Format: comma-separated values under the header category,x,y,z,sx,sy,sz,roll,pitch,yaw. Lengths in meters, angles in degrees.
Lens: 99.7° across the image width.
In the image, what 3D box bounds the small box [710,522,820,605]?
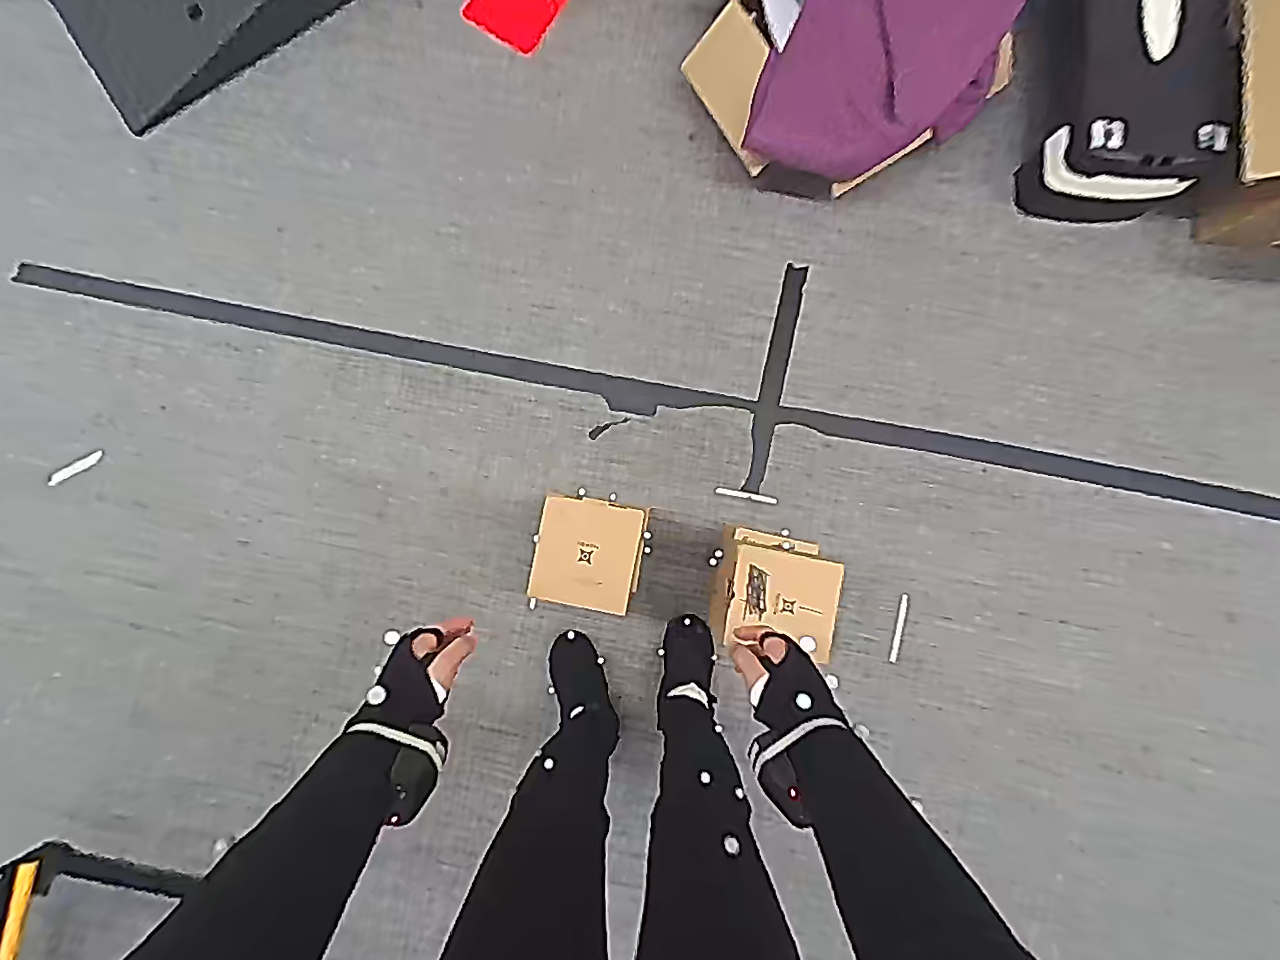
category,x,y,z,sx,sy,sz,roll,pitch,yaw
small box,0.247,0.192,1.108,0.168,0.176,0.179,13,90,0

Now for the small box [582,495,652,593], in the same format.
category,x,y,z,sx,sy,sz,roll,pitch,yaw
small box,-0.074,0.124,1.115,0.179,0.176,0.168,10,88,2

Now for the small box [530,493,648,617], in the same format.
category,x,y,z,sx,sy,sz,roll,pitch,yaw
small box,-0.080,0.123,0.952,0.168,0.176,0.179,10,89,3

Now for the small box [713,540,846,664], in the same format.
category,x,y,z,sx,sy,sz,roll,pitch,yaw
small box,0.232,0.201,0.944,0.179,0.176,0.168,11,88,1
